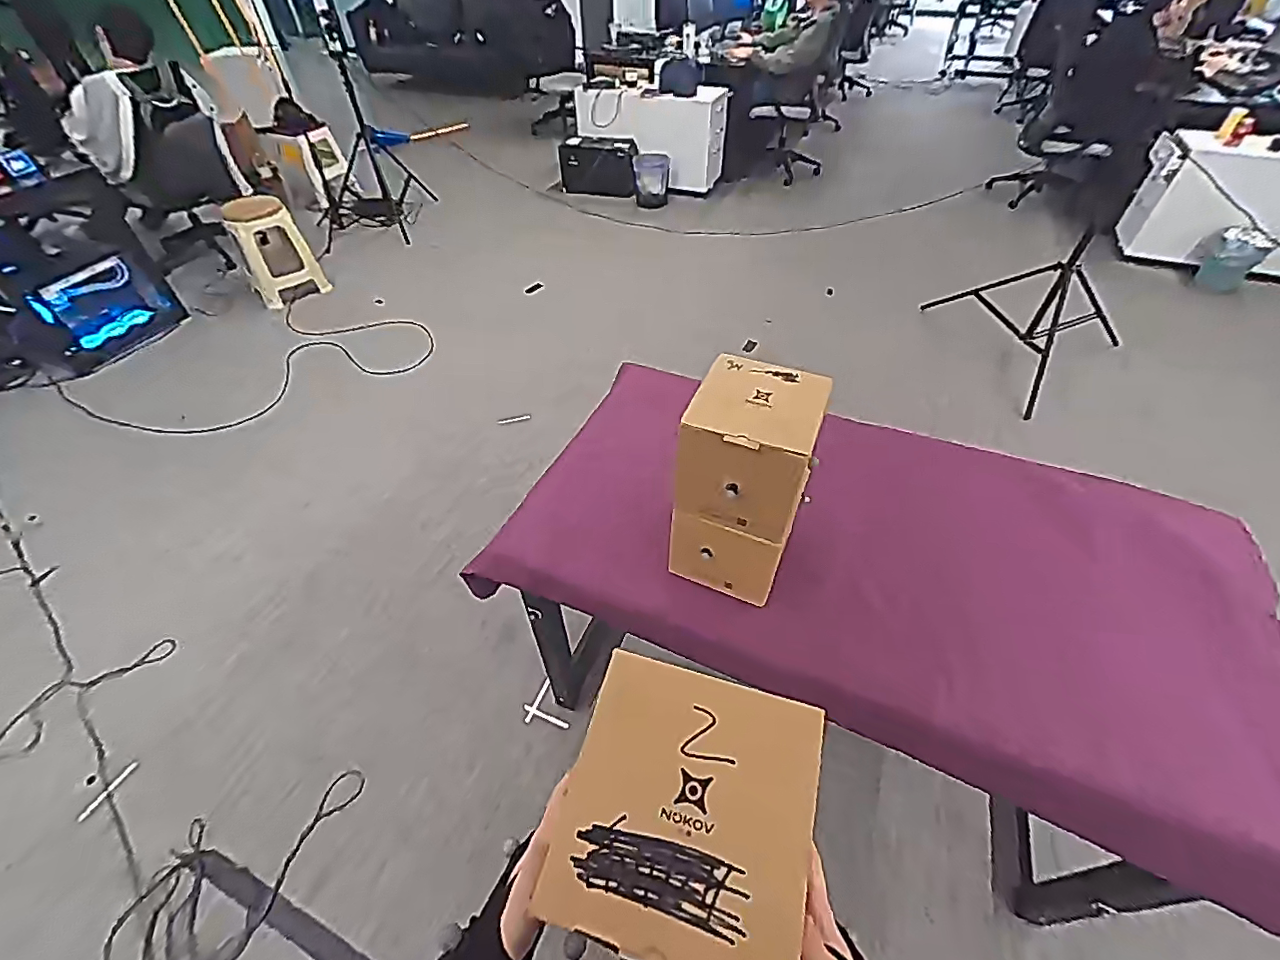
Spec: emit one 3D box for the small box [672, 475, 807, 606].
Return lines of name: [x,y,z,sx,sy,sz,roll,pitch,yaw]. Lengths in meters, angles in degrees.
small box: [0.159,0.076,0.889,0.168,0.176,0.179,18,49,17]

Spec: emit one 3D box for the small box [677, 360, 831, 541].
small box: [0.158,-0.041,0.774,0.168,0.176,0.179,17,49,16]
